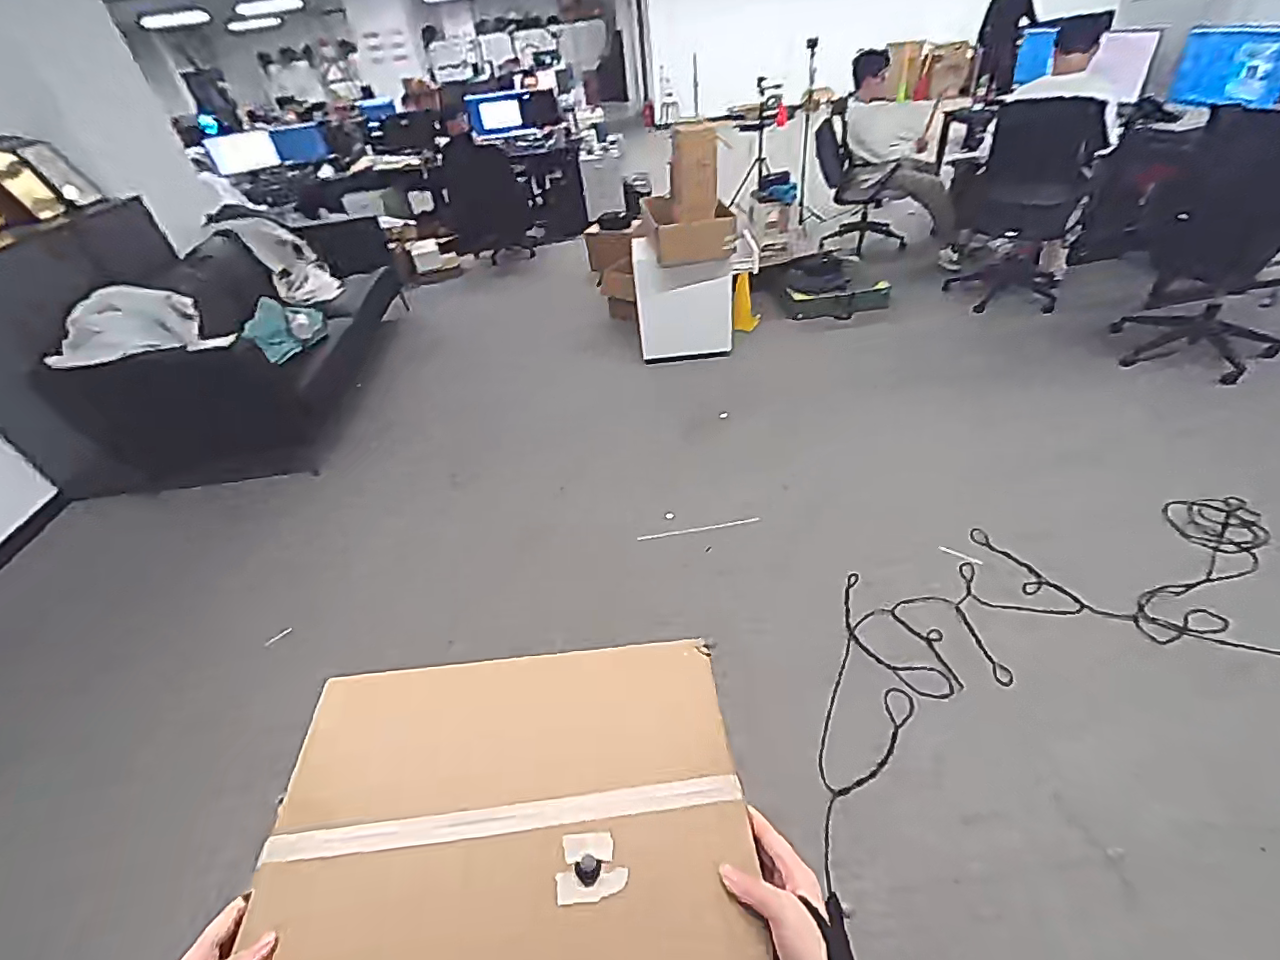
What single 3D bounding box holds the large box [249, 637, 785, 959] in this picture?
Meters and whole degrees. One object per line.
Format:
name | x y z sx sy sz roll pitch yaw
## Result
large box | -0.107 0.405 0.579 0.408 0.320 0.320 -4 41 -5
